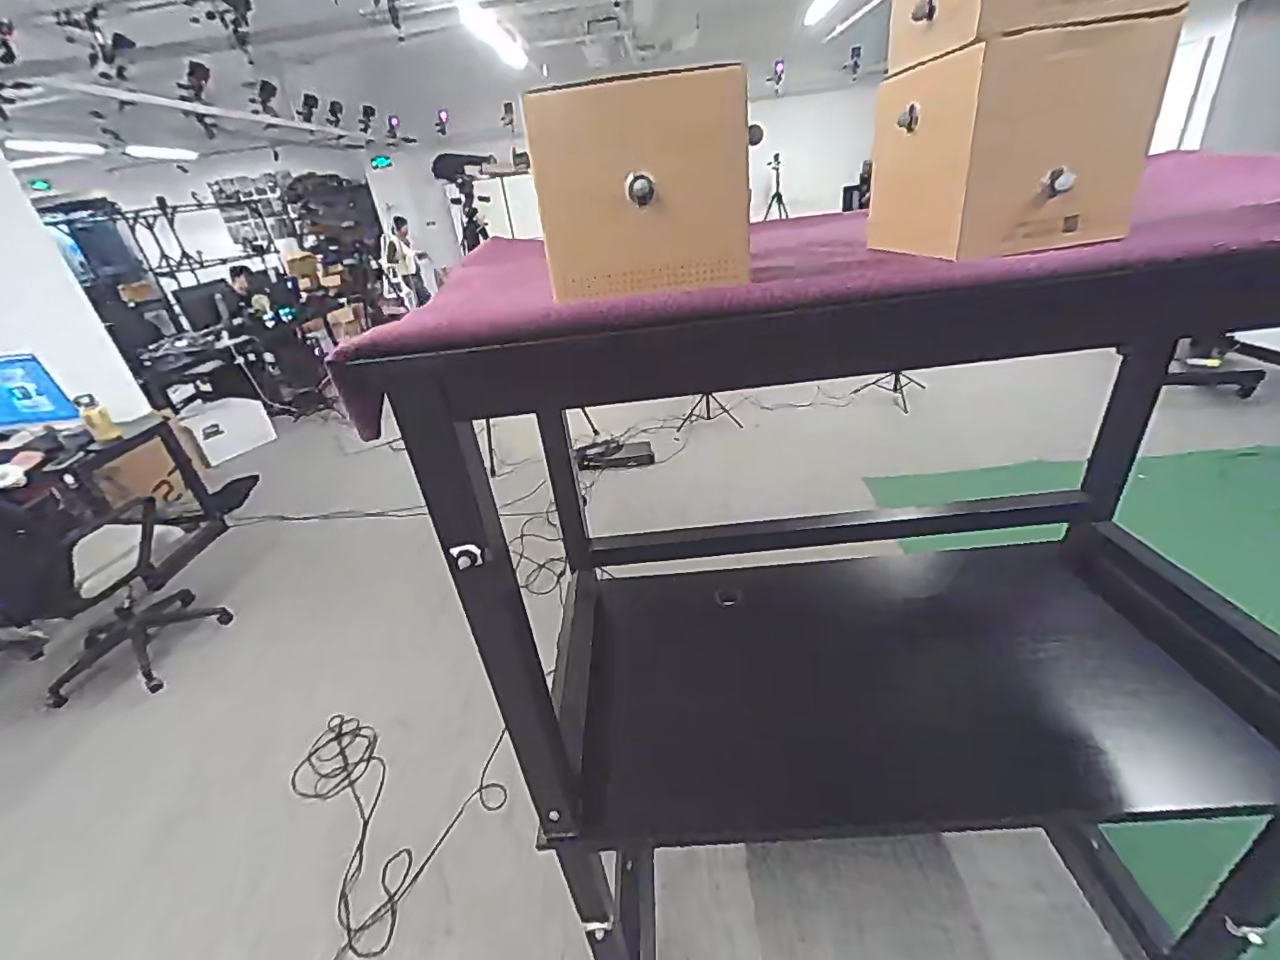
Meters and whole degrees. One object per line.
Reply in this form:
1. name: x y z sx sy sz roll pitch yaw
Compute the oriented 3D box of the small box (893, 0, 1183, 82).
1. small box: 0.338 -0.464 0.460 0.168 0.176 0.179 -6 29 2
